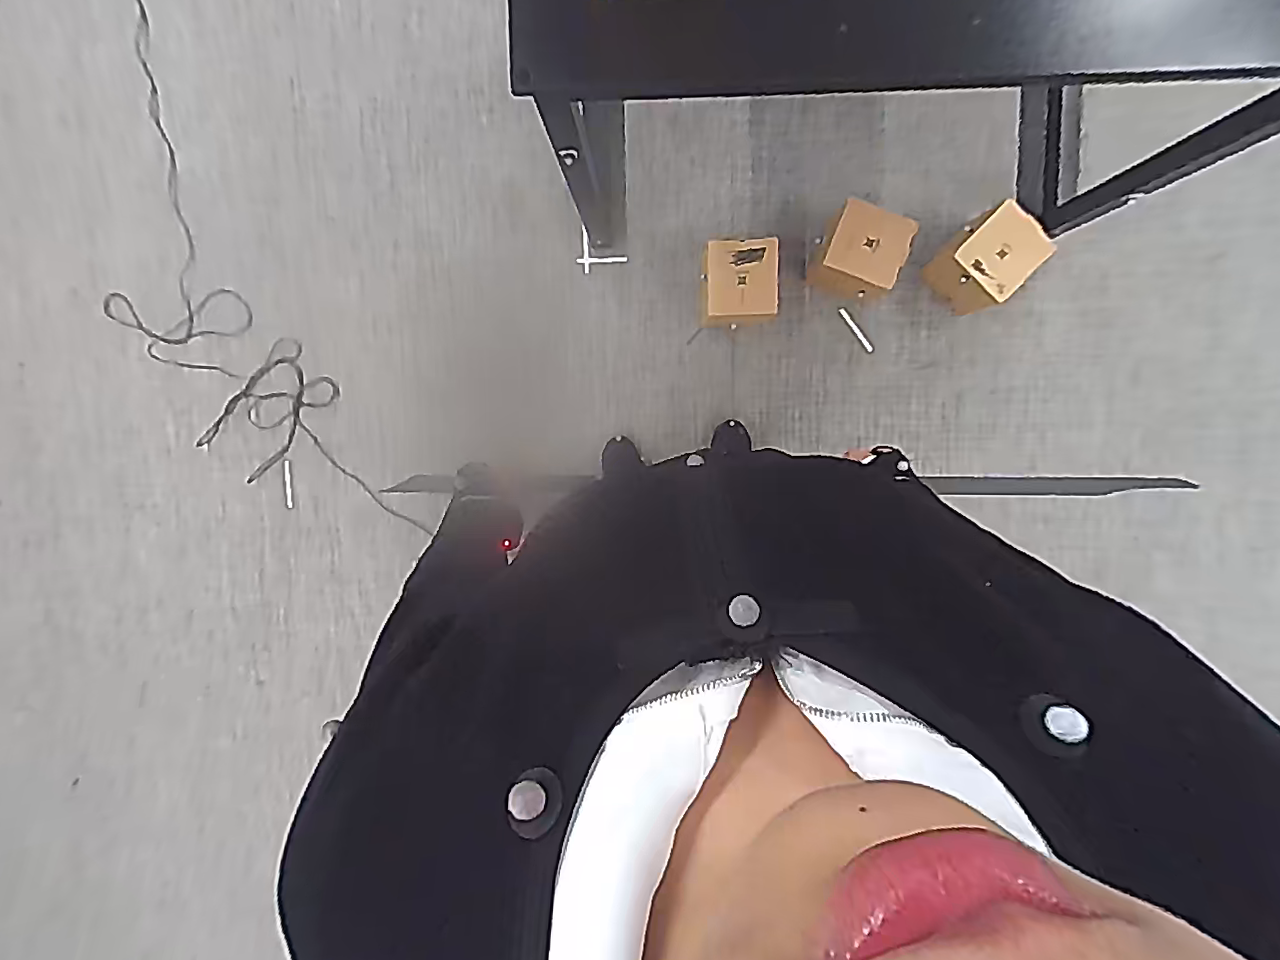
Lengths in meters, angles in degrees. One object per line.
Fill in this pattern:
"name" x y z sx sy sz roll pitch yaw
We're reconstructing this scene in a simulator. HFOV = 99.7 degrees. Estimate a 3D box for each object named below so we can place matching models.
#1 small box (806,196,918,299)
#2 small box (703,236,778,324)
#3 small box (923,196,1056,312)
"small box" 0.538 -0.562 1.335 0.179 0.176 0.168 20 96 1
"small box" 0.246 -0.494 1.354 0.168 0.176 0.179 -1 98 3
"small box" 0.841 -0.541 1.322 0.168 0.176 0.179 43 97 -3
